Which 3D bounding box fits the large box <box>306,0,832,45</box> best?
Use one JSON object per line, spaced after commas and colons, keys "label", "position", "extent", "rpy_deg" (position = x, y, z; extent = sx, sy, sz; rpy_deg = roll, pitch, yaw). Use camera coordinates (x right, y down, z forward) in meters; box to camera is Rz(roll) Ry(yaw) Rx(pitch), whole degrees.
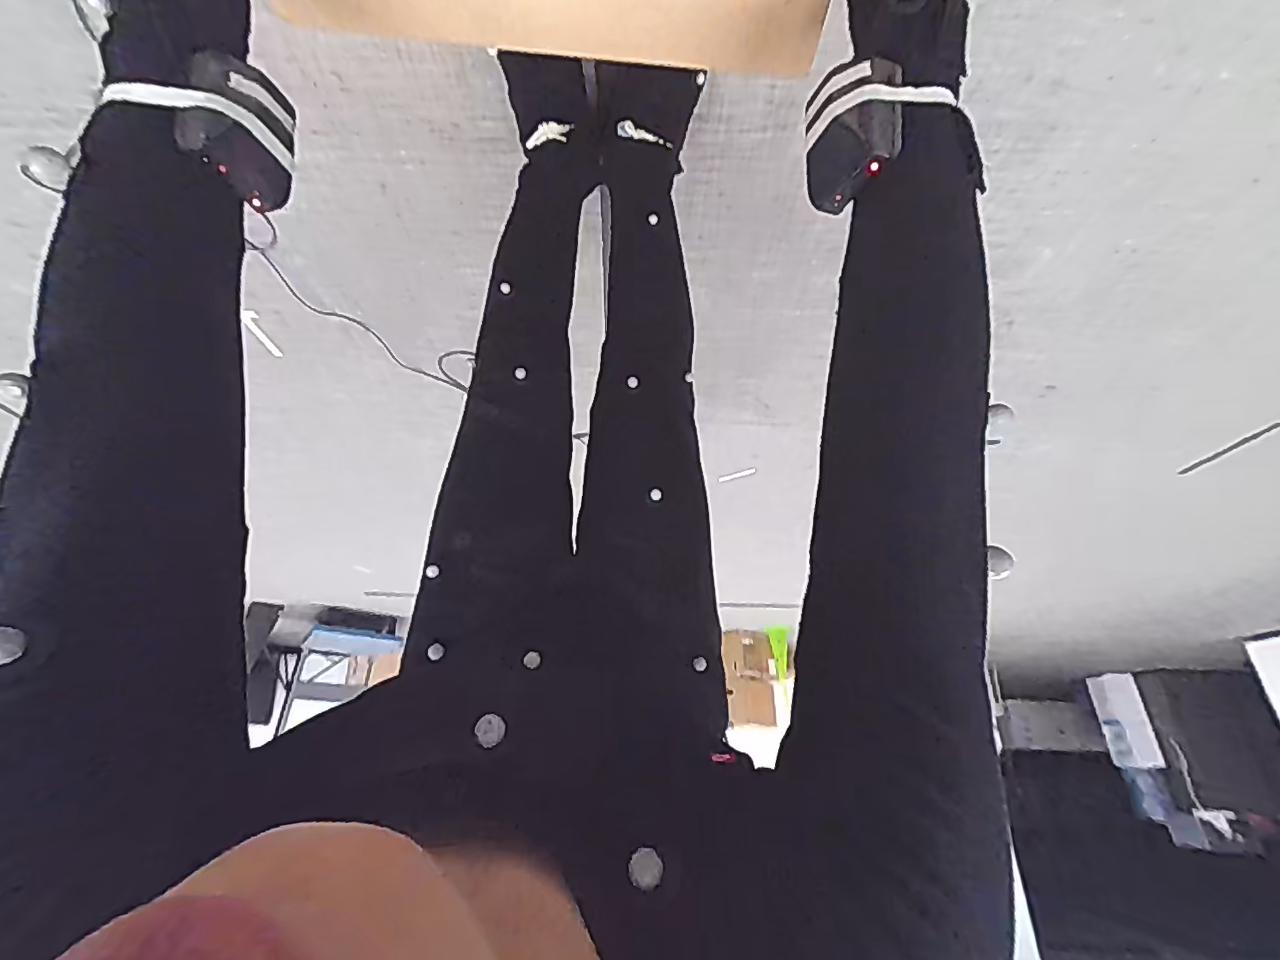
{"label": "large box", "position": [-0.046, -0.558, 0.381], "extent": [0.408, 0.320, 0.320], "rpy_deg": [4, 145, -1]}
